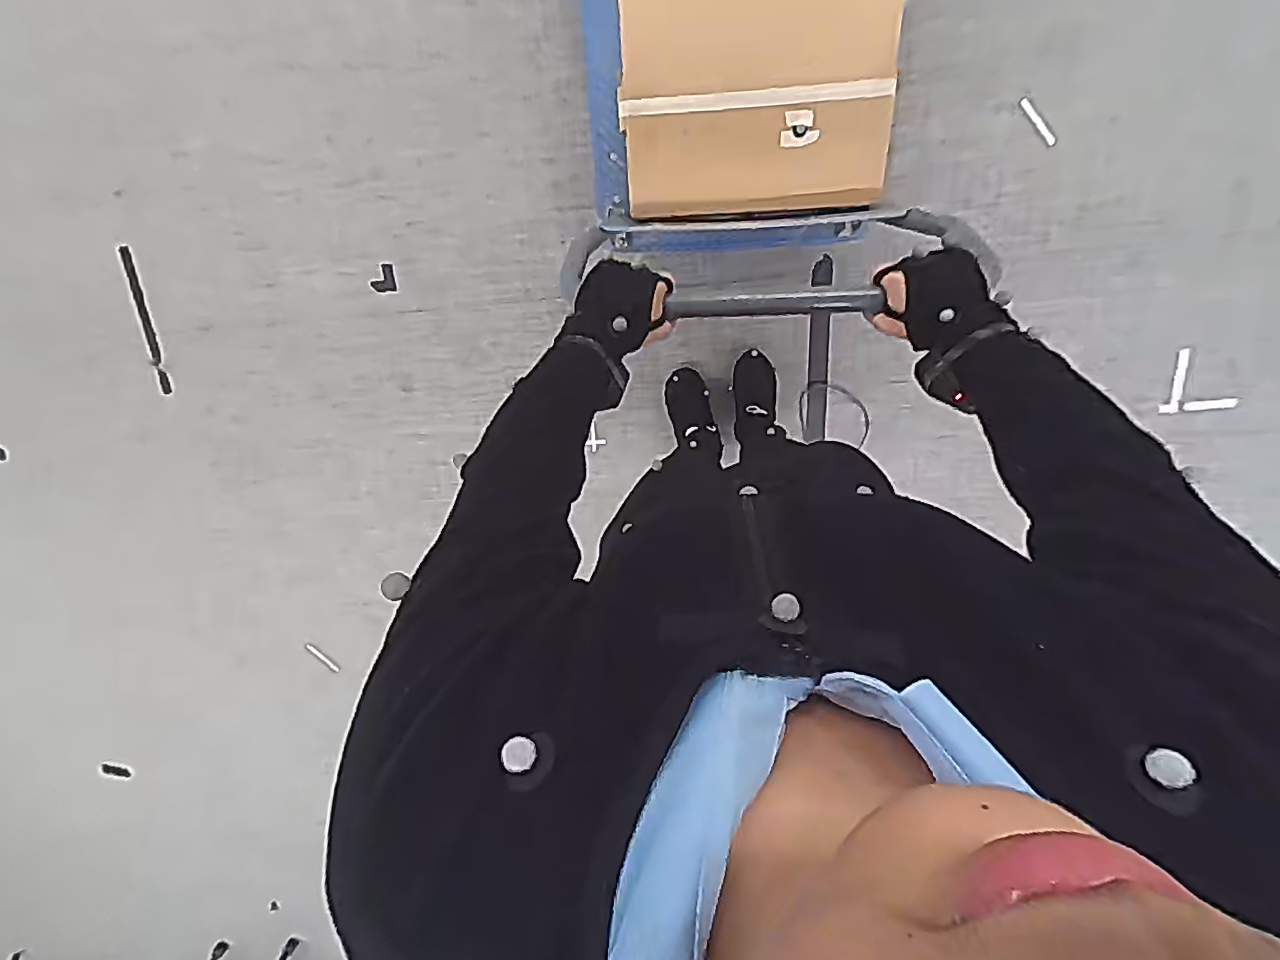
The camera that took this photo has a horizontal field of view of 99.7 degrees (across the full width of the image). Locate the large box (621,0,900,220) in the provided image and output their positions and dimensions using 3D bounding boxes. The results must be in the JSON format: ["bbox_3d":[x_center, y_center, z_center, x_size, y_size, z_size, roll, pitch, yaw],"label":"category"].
[{"bbox_3d":[0.189,-0.653,0.964,0.408,0.320,0.320,-1,117,5],"label":"large box"}]
